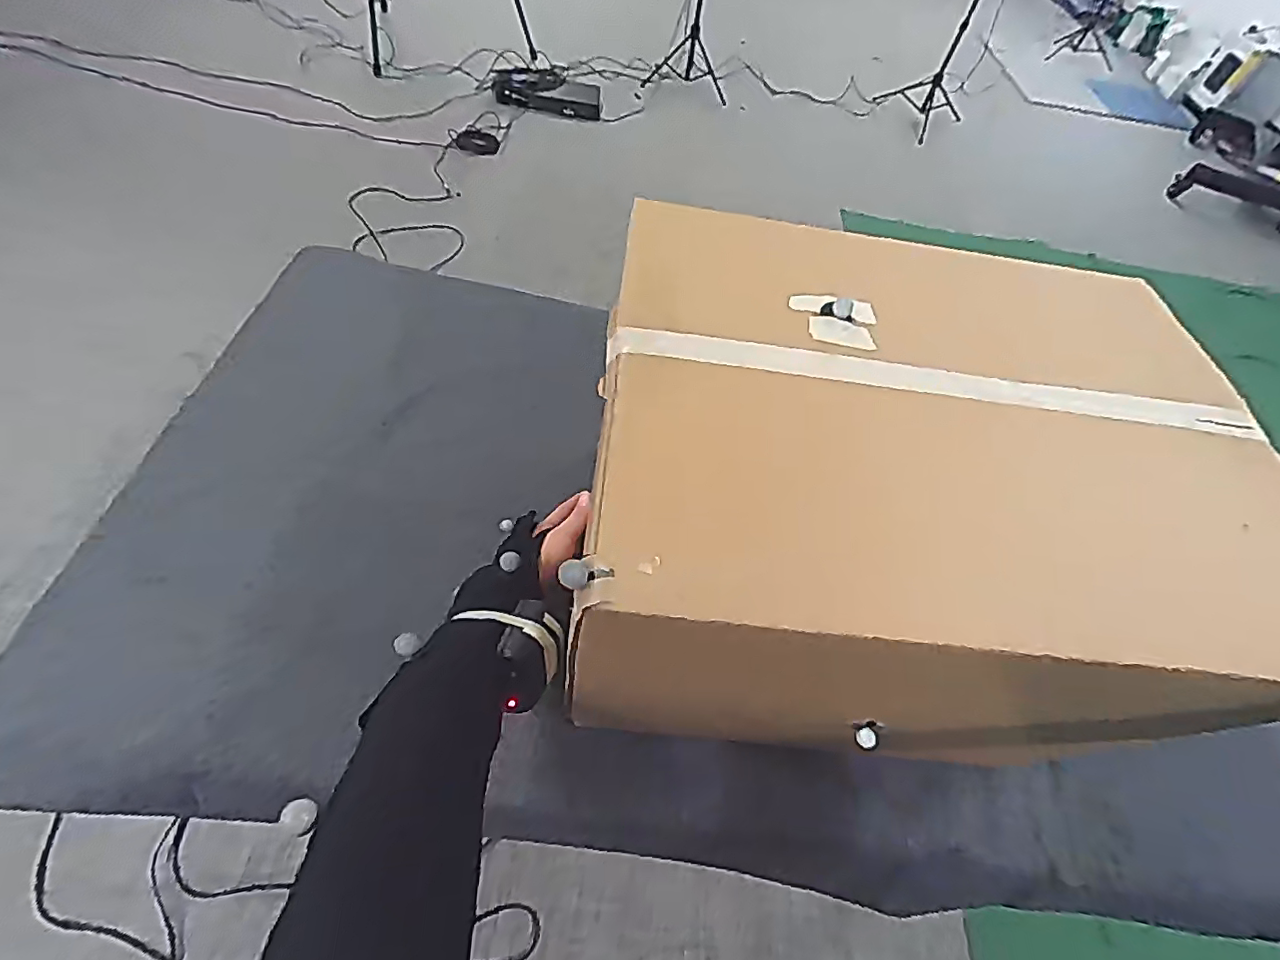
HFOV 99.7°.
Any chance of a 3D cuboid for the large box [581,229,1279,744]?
[{"bbox_3d":[0.167,0.035,0.466,0.408,0.320,0.320,6,57,-3],"label":"large box"}]
